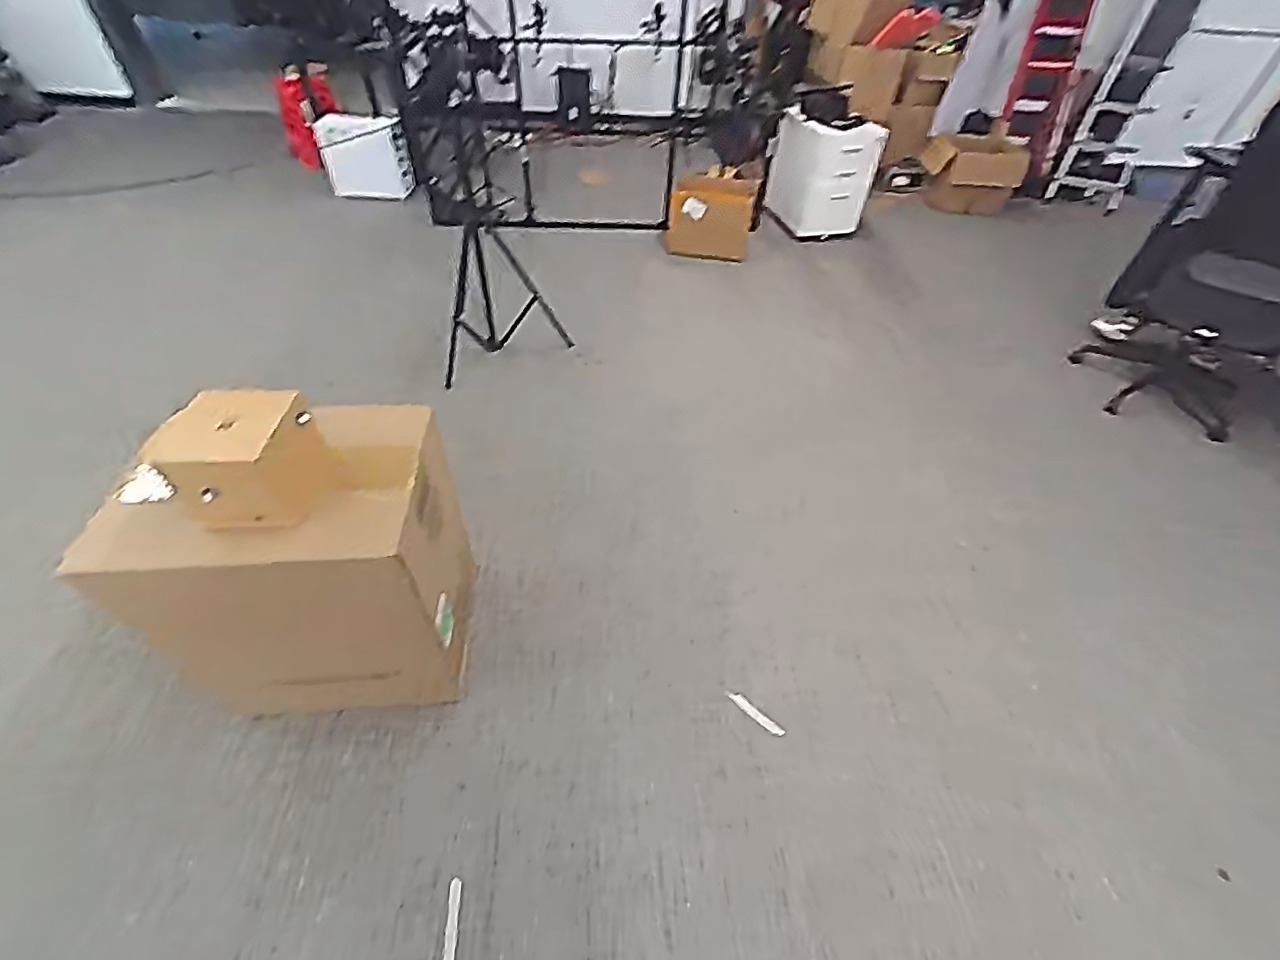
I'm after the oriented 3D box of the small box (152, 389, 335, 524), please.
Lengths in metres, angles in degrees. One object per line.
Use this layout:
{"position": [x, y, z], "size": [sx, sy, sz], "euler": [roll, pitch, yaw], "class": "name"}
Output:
{"position": [-0.655, -0.037, 0.924], "size": [0.168, 0.176, 0.179], "euler": [-1, 46, -4], "class": "small box"}
